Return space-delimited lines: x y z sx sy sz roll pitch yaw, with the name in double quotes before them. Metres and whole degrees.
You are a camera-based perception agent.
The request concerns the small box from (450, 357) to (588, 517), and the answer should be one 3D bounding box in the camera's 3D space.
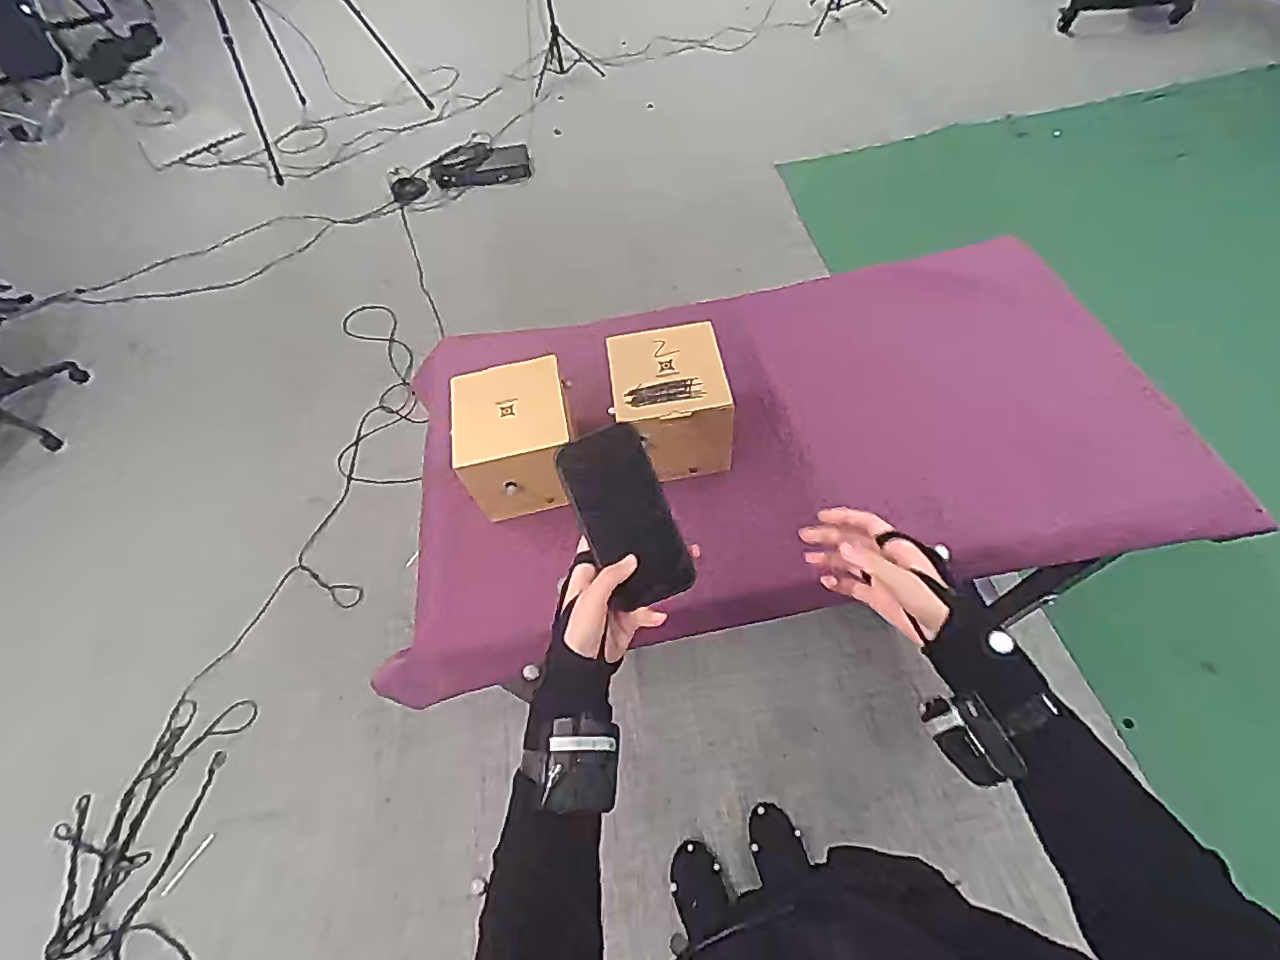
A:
"small box" -0.185 -0.058 0.848 0.168 0.176 0.179 -13 56 -1
